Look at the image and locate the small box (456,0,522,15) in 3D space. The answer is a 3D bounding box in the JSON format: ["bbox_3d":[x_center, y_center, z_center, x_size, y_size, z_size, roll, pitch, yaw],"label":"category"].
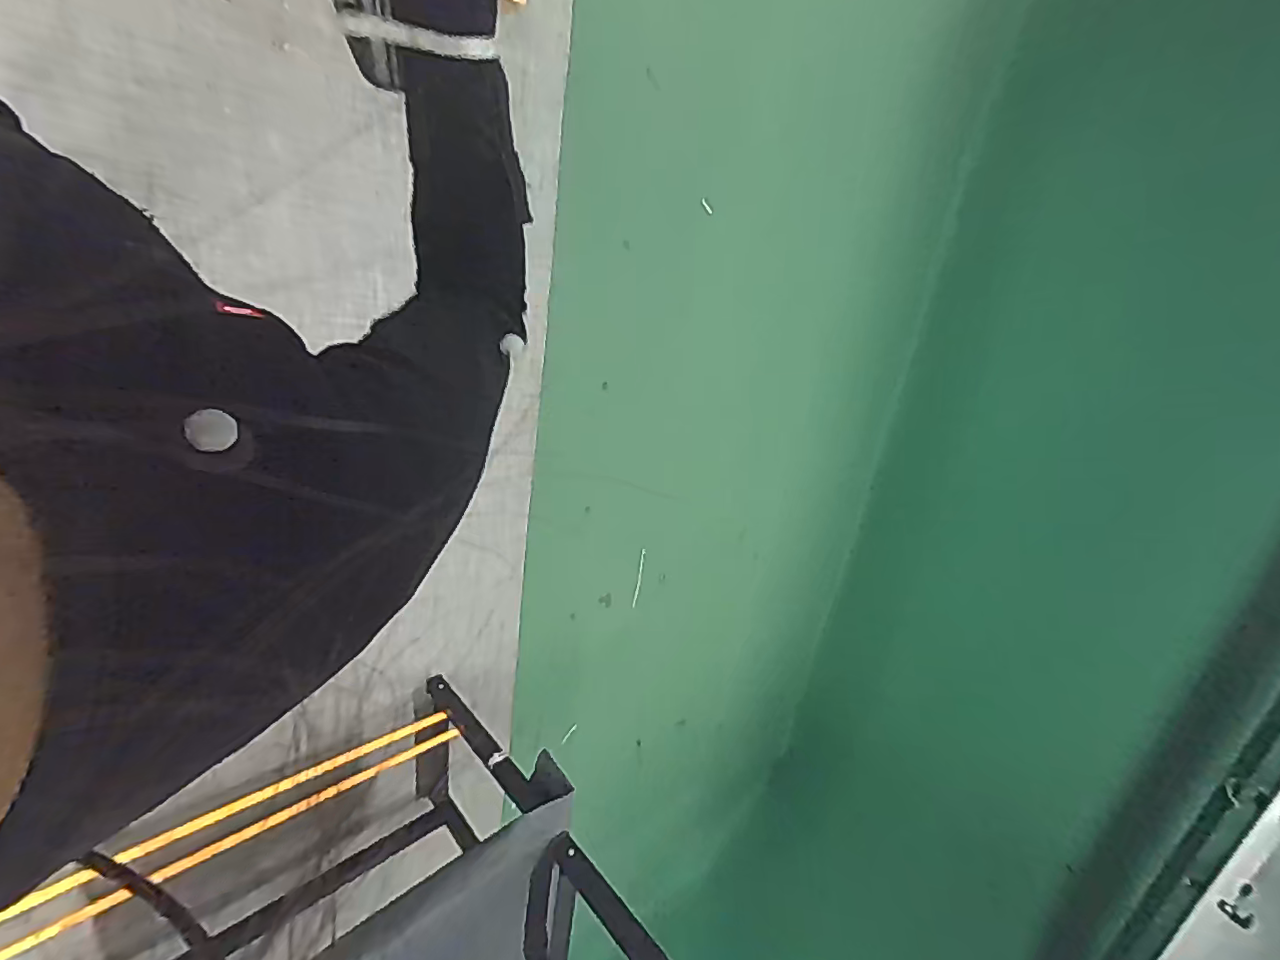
[{"bbox_3d":[-0.368,-1.173,1.192,0.168,0.176,0.179,-13,119,-44],"label":"small box"}]
